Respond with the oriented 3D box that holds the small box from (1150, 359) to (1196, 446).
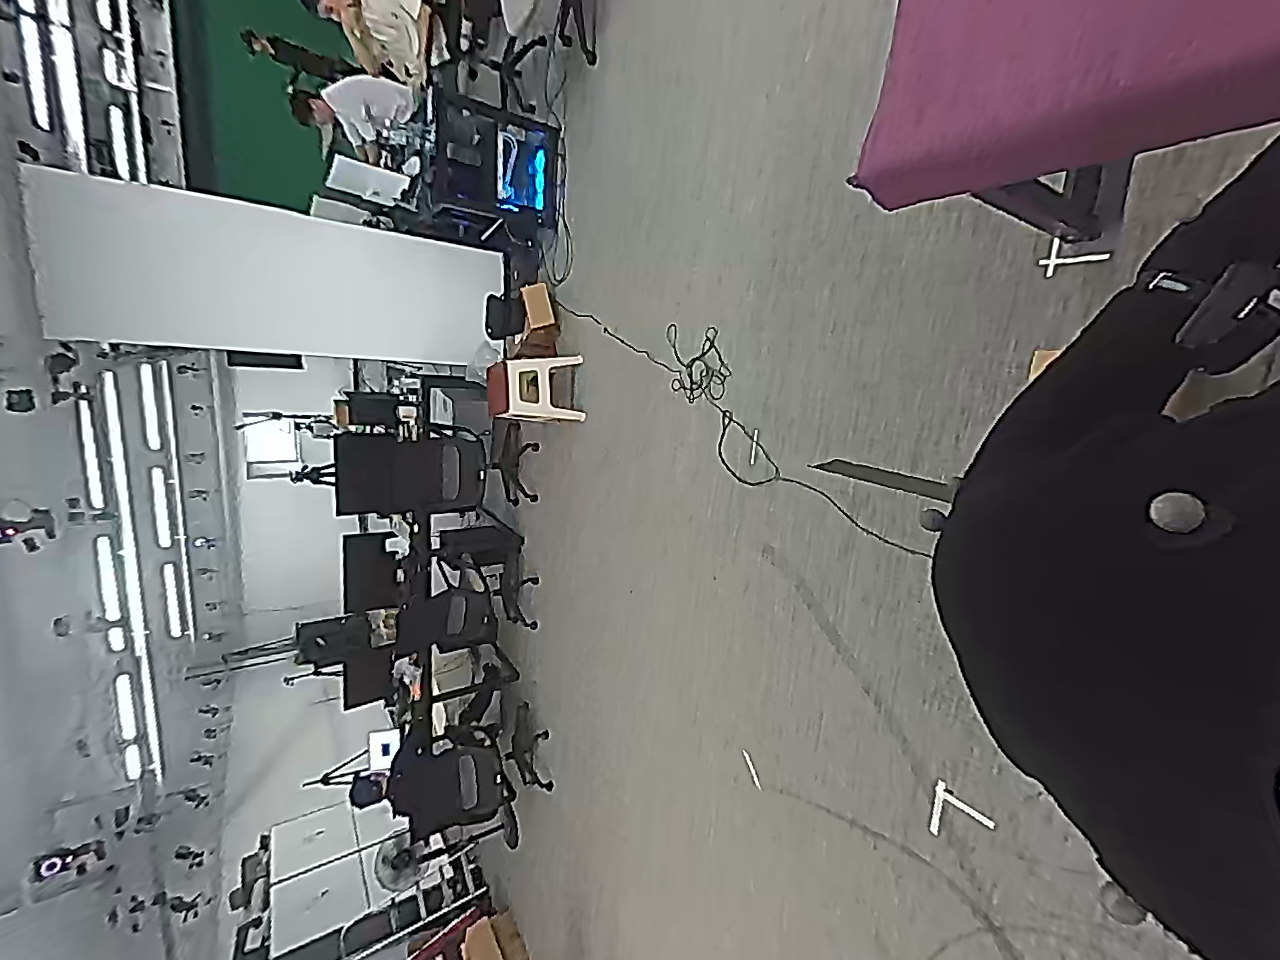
[{"bbox_3d":[1.001,-0.171,1.124,0.168,0.176,0.179,30,117,51],"label":"small box"}]
